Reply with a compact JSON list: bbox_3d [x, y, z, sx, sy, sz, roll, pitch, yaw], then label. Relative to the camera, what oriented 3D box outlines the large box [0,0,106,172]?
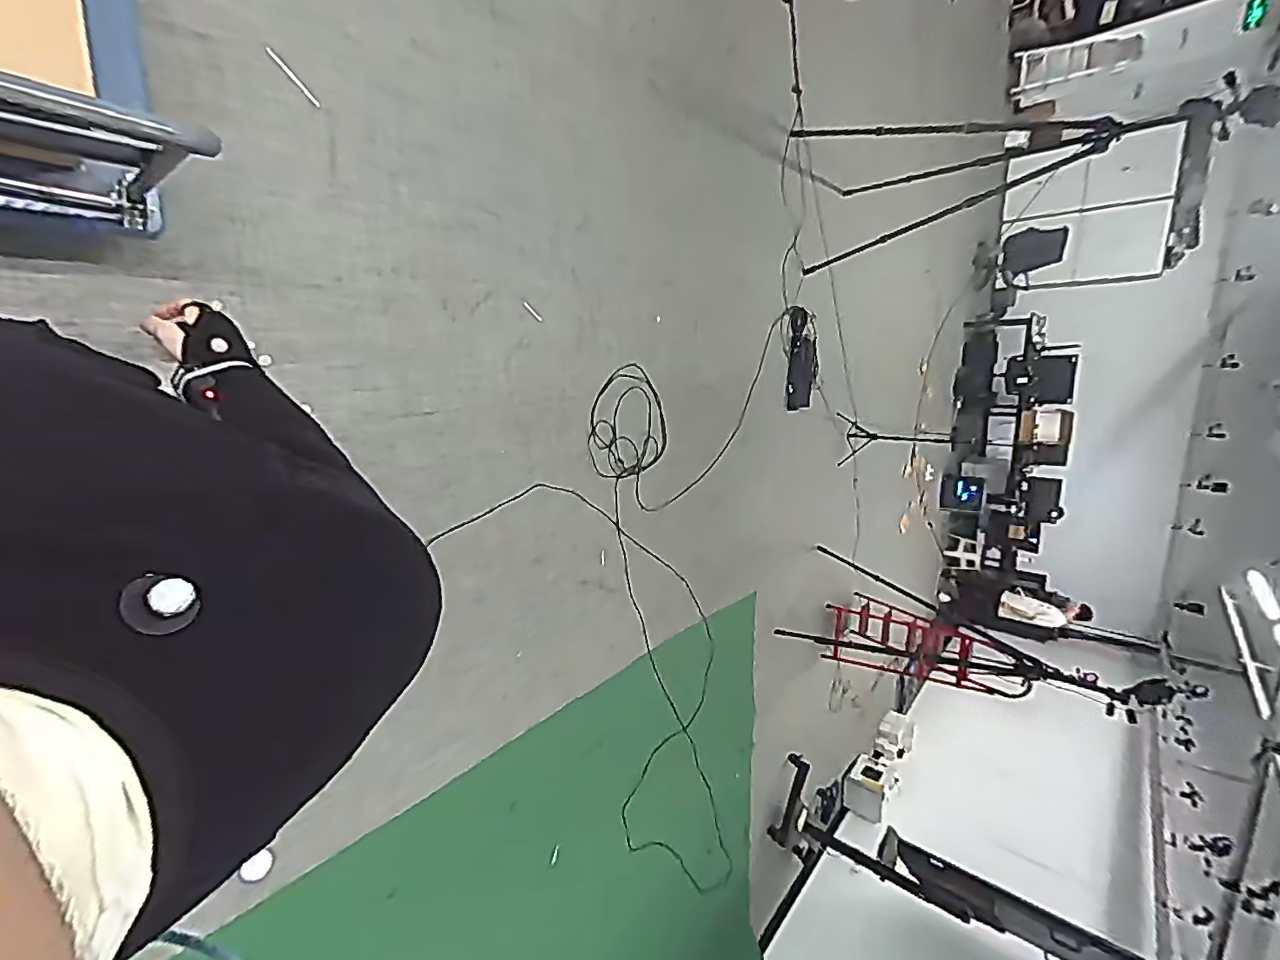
[{"bbox_3d":[-1.011,-0.722,0.758,0.320,0.320,0.408,-11,104,-48],"label":"large box"}]
